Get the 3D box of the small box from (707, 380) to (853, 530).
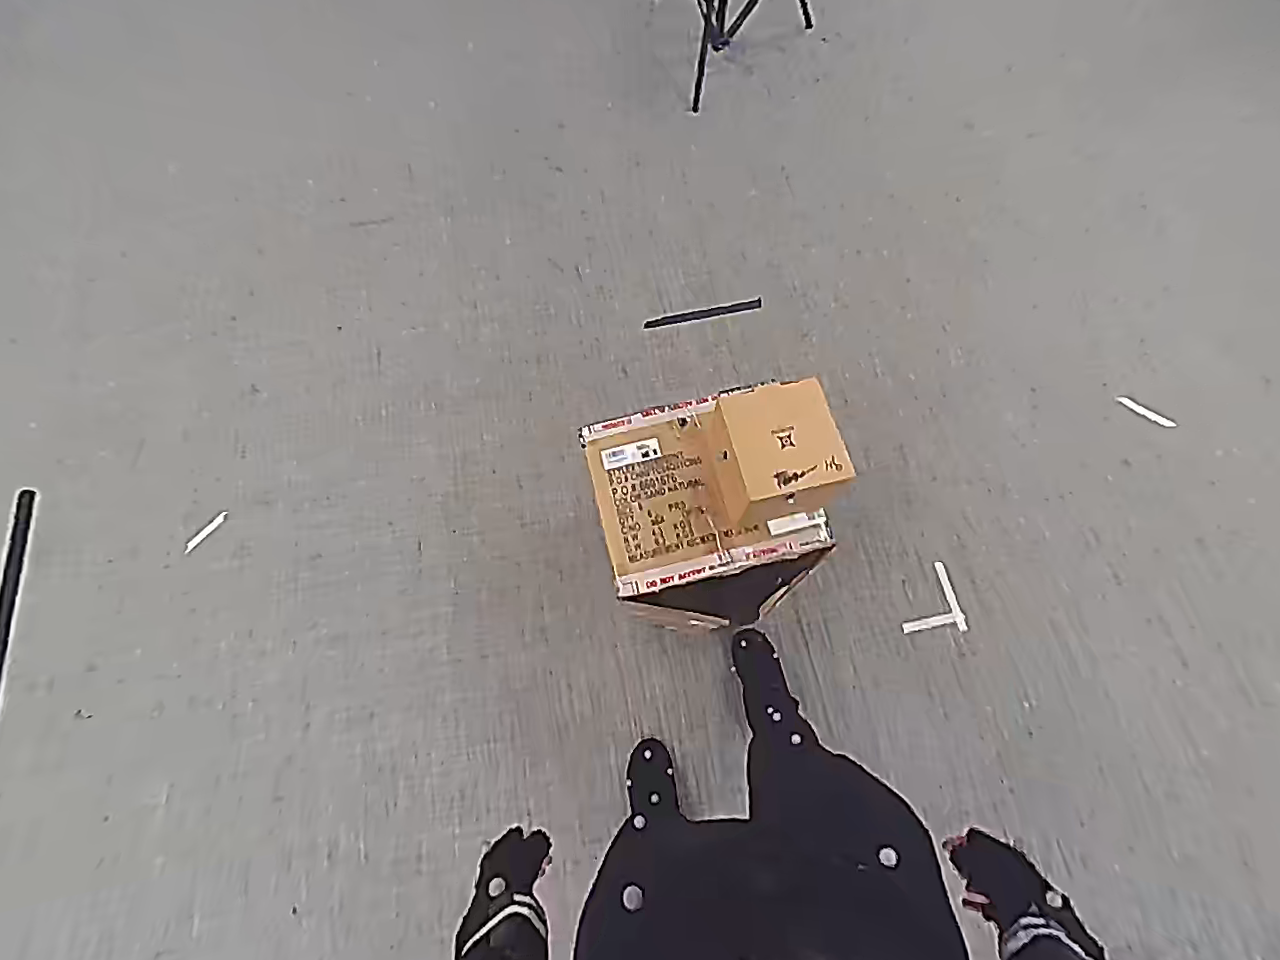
[{"bbox_3d":[0.216,-0.035,0.891,0.168,0.176,0.179,-13,70,-4],"label":"small box"}]
